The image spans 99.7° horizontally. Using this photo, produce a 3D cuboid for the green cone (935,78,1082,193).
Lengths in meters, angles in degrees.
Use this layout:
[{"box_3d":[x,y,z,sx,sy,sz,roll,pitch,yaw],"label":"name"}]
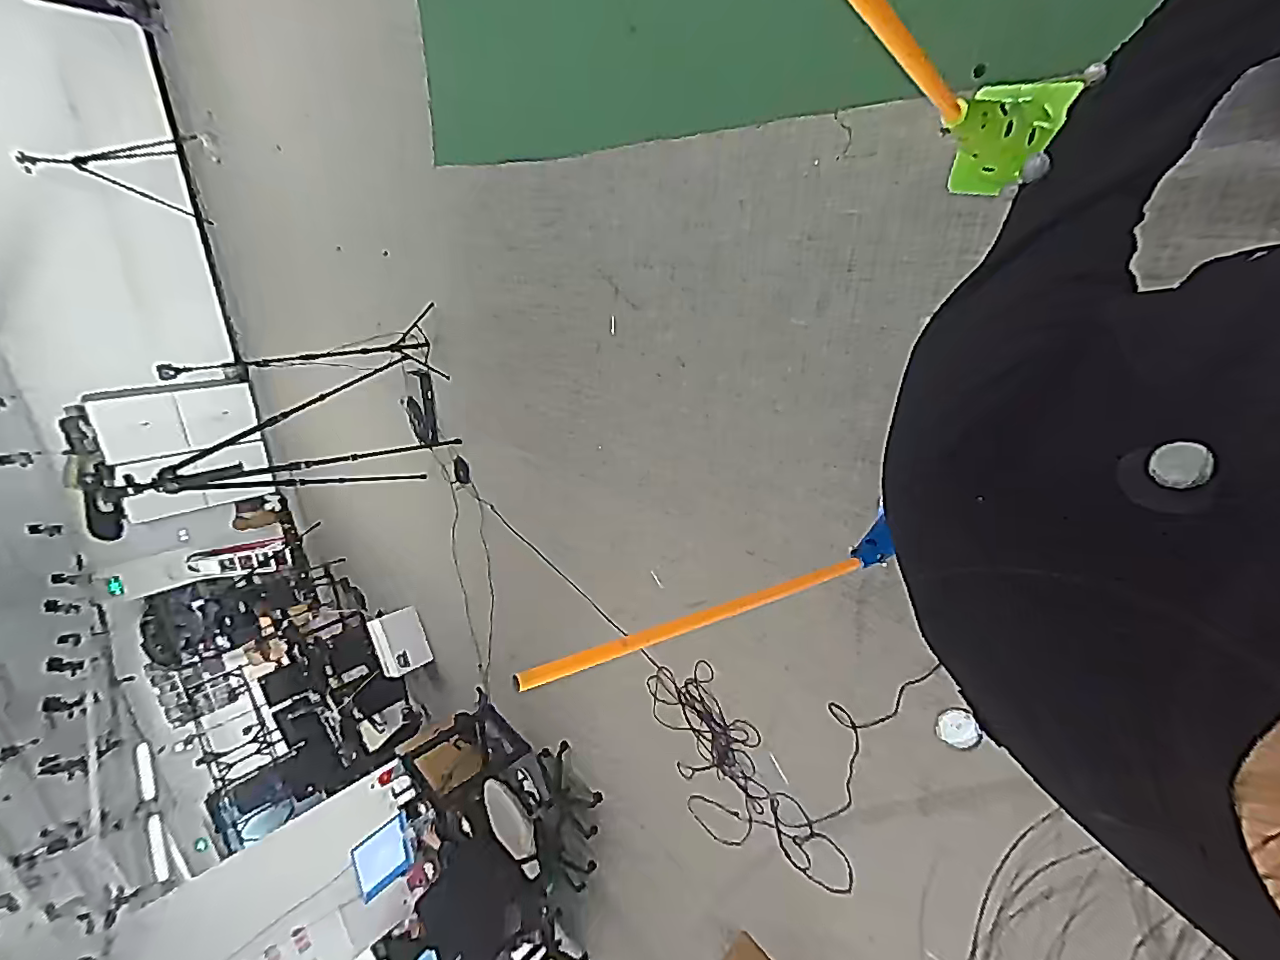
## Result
[{"box_3d":[0.657,-0.677,1.030,0.202,0.368,0.200,29,125,39],"label":"green cone"}]
